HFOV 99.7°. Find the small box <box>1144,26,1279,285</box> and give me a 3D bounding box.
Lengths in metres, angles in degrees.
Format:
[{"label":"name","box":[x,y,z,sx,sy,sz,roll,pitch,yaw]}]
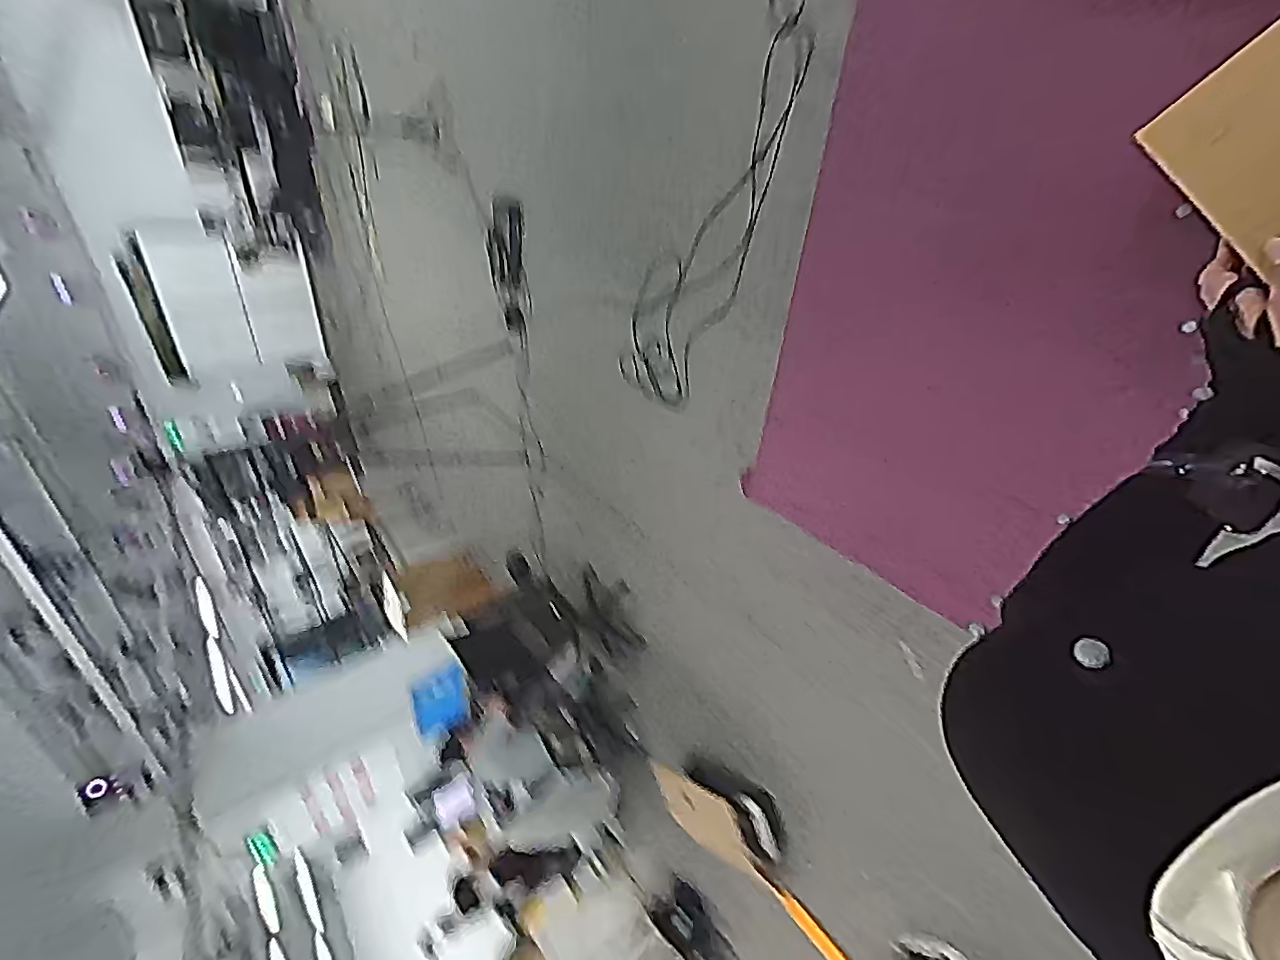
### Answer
[{"label":"small box","box":[0.578,-0.288,0.445,0.179,0.176,0.168,60,144,10]}]
